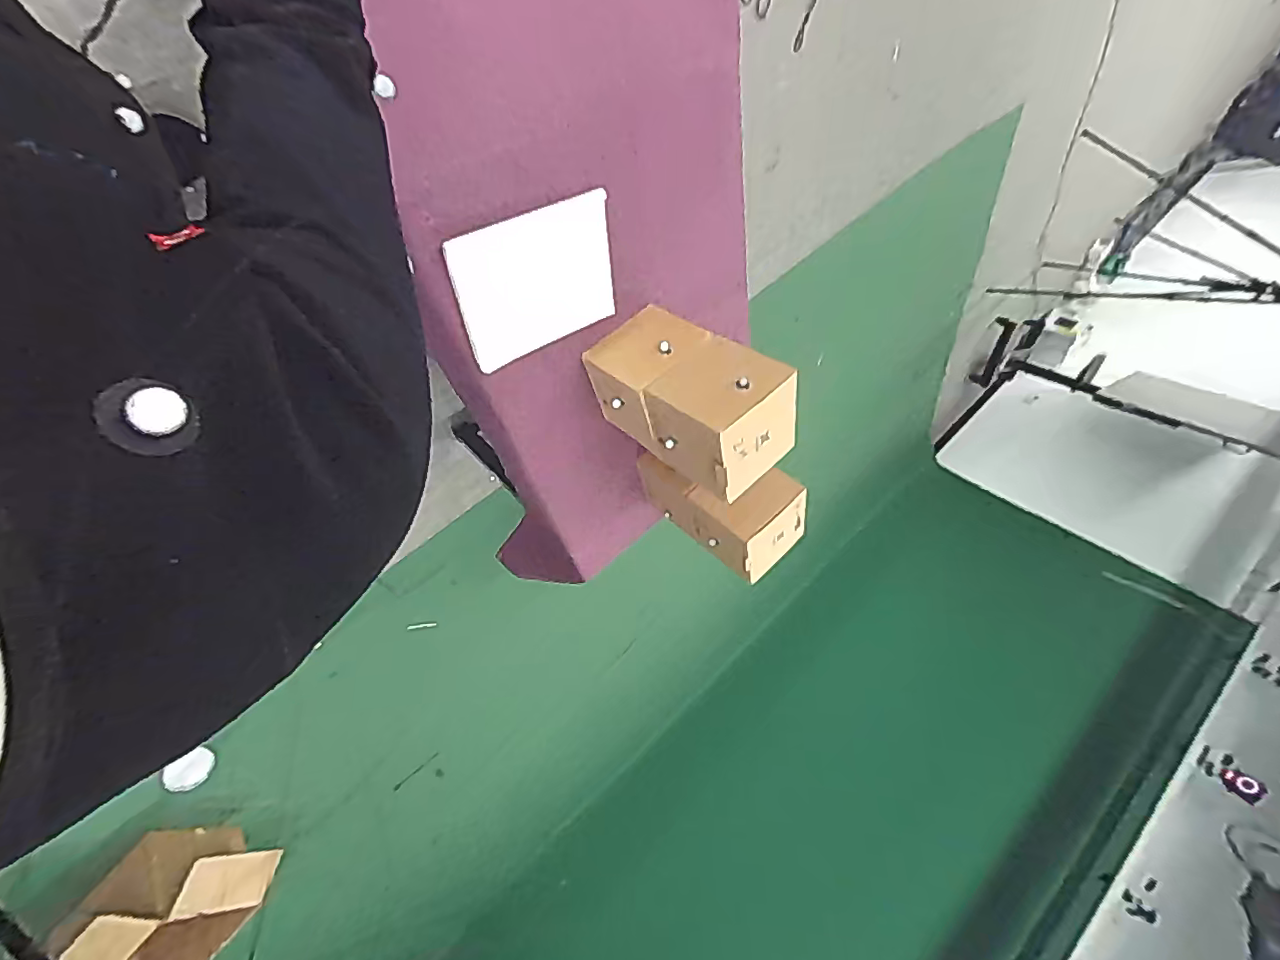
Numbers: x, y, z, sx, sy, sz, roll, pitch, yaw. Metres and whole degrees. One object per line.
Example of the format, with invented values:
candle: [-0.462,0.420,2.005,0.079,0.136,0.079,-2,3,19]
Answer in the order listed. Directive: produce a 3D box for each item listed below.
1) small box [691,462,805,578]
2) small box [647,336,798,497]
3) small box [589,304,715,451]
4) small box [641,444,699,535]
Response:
small box: [0.222,0.064,1.142,0.179,0.176,0.168,-37,143,-18]
small box: [0.137,-0.112,0.899,0.179,0.176,0.168,-38,142,-19]
small box: [0.026,-0.192,0.992,0.179,0.176,0.168,-40,143,-17]
small box: [0.119,-0.015,1.243,0.179,0.176,0.168,-38,142,-19]
